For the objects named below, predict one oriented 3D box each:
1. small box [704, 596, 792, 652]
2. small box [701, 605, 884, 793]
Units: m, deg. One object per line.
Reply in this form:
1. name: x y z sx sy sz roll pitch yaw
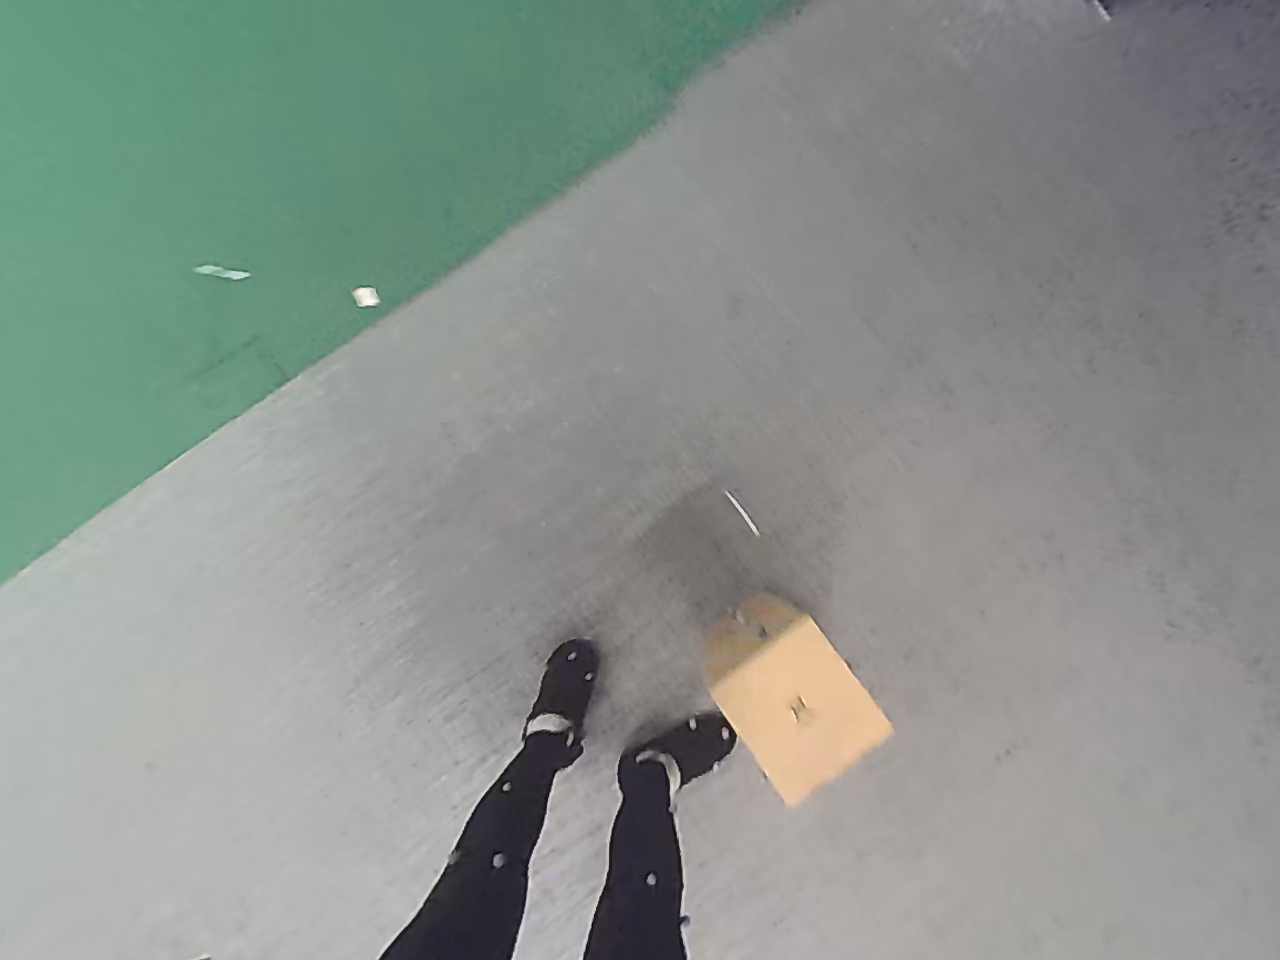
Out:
1. small box: 0.228 0.318 0.937 0.168 0.176 0.179 -37 81 -2
2. small box: 0.202 0.294 0.777 0.168 0.176 0.179 -35 83 -2
